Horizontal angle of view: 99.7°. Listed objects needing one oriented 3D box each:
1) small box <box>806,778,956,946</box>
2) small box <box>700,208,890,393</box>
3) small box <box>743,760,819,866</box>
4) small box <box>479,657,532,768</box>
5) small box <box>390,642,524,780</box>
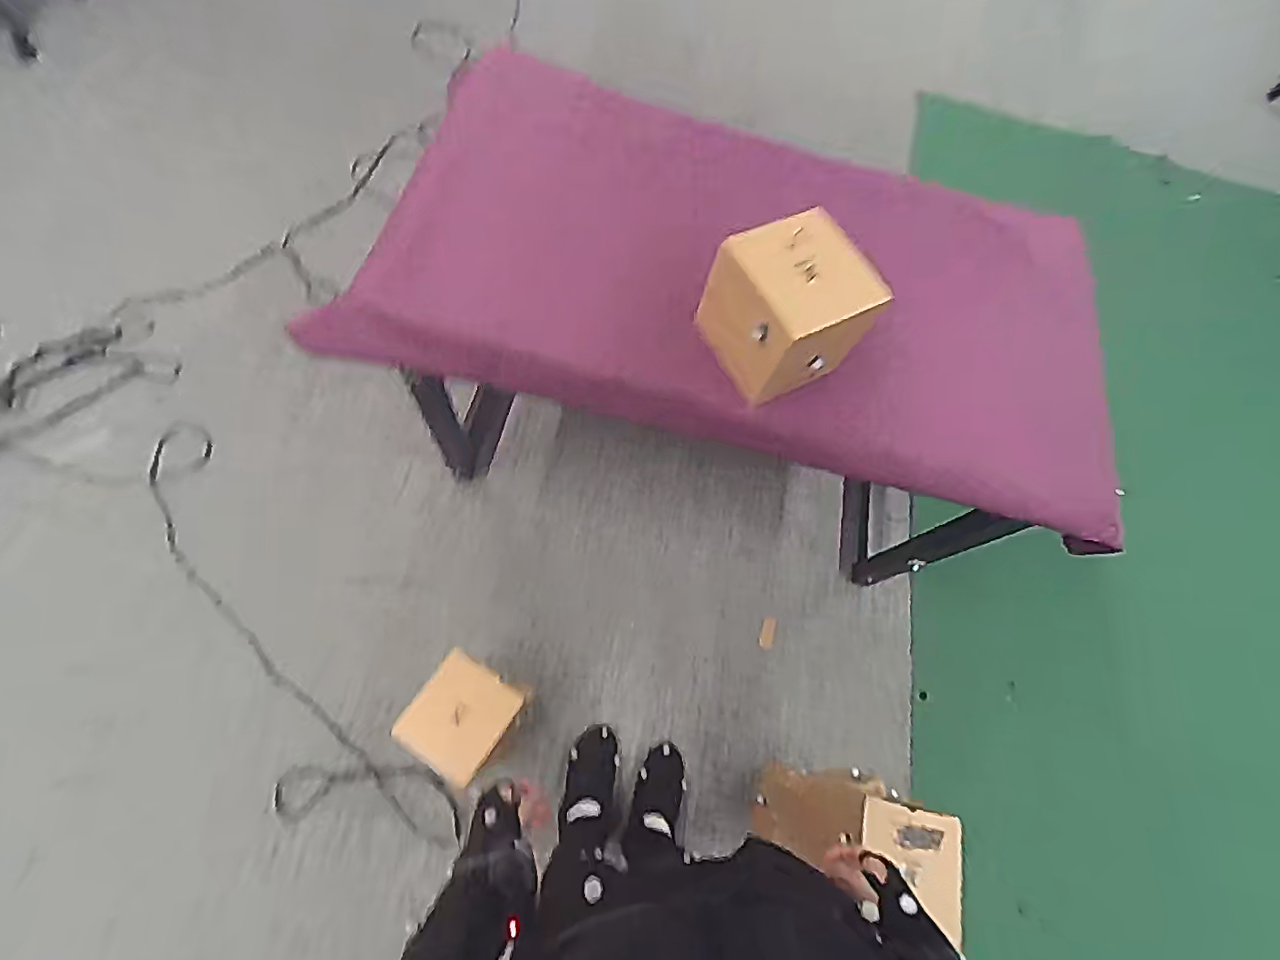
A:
[{"bbox_3d":[0.395,0.620,0.905,0.168,0.176,0.179,16,68,-2],"label":"small box"},{"bbox_3d":[0.210,-0.248,0.782,0.168,0.176,0.179,-24,73,-17],"label":"small box"},{"bbox_3d":[0.349,0.745,1.206,0.179,0.176,0.168,24,68,2],"label":"small box"},{"bbox_3d":[-0.352,0.501,1.198,0.168,0.176,0.179,28,68,4],"label":"small box"},{"bbox_3d":[-0.339,0.442,1.048,0.168,0.176,0.179,33,67,6],"label":"small box"}]
